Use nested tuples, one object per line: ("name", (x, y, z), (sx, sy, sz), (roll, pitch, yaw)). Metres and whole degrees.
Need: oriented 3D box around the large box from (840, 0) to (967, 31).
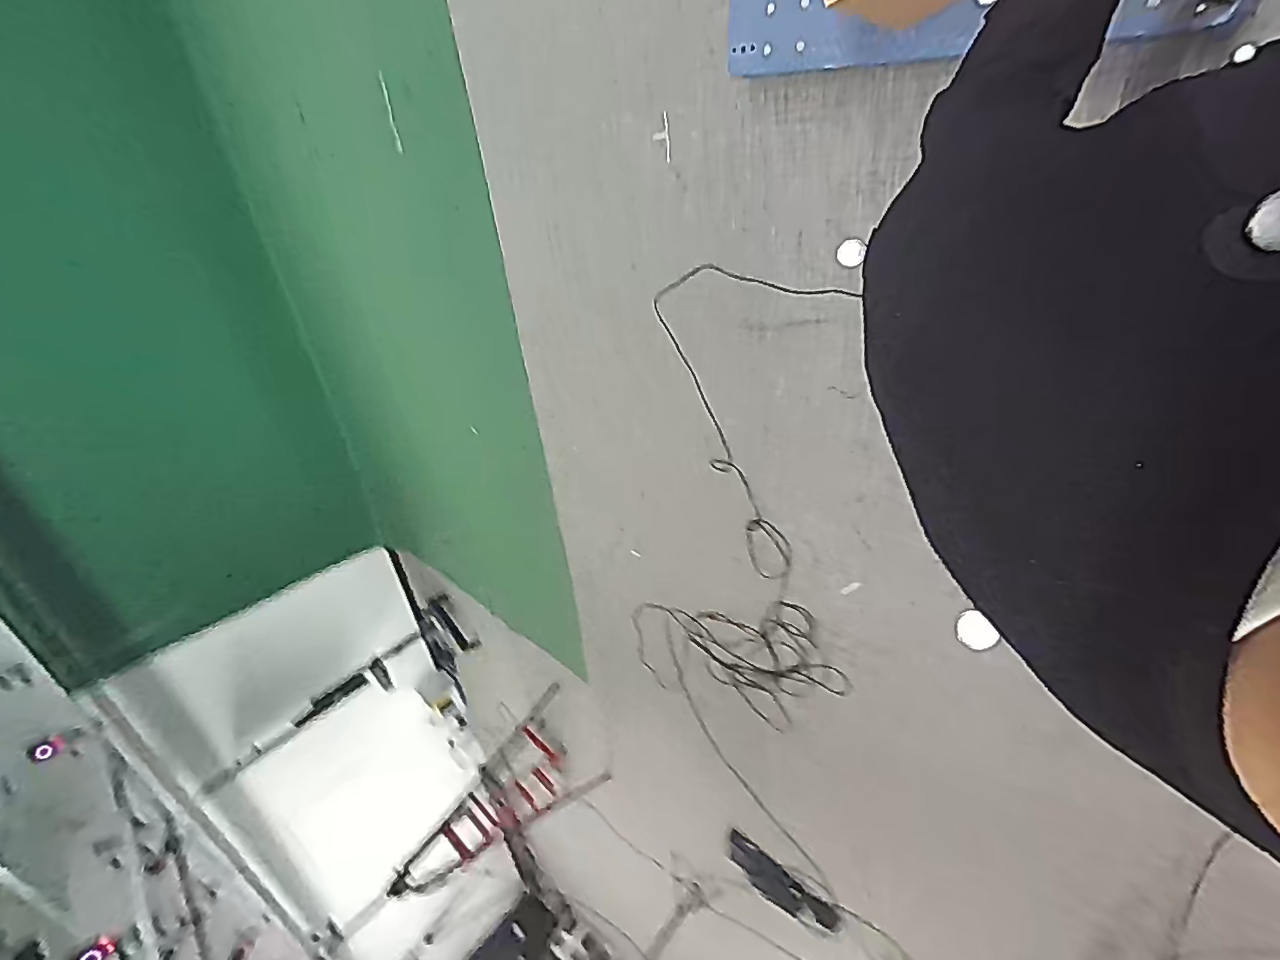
("large box", (0.457, -0.964, 0.763), (0.320, 0.320, 0.408), (1, 115, 47))
